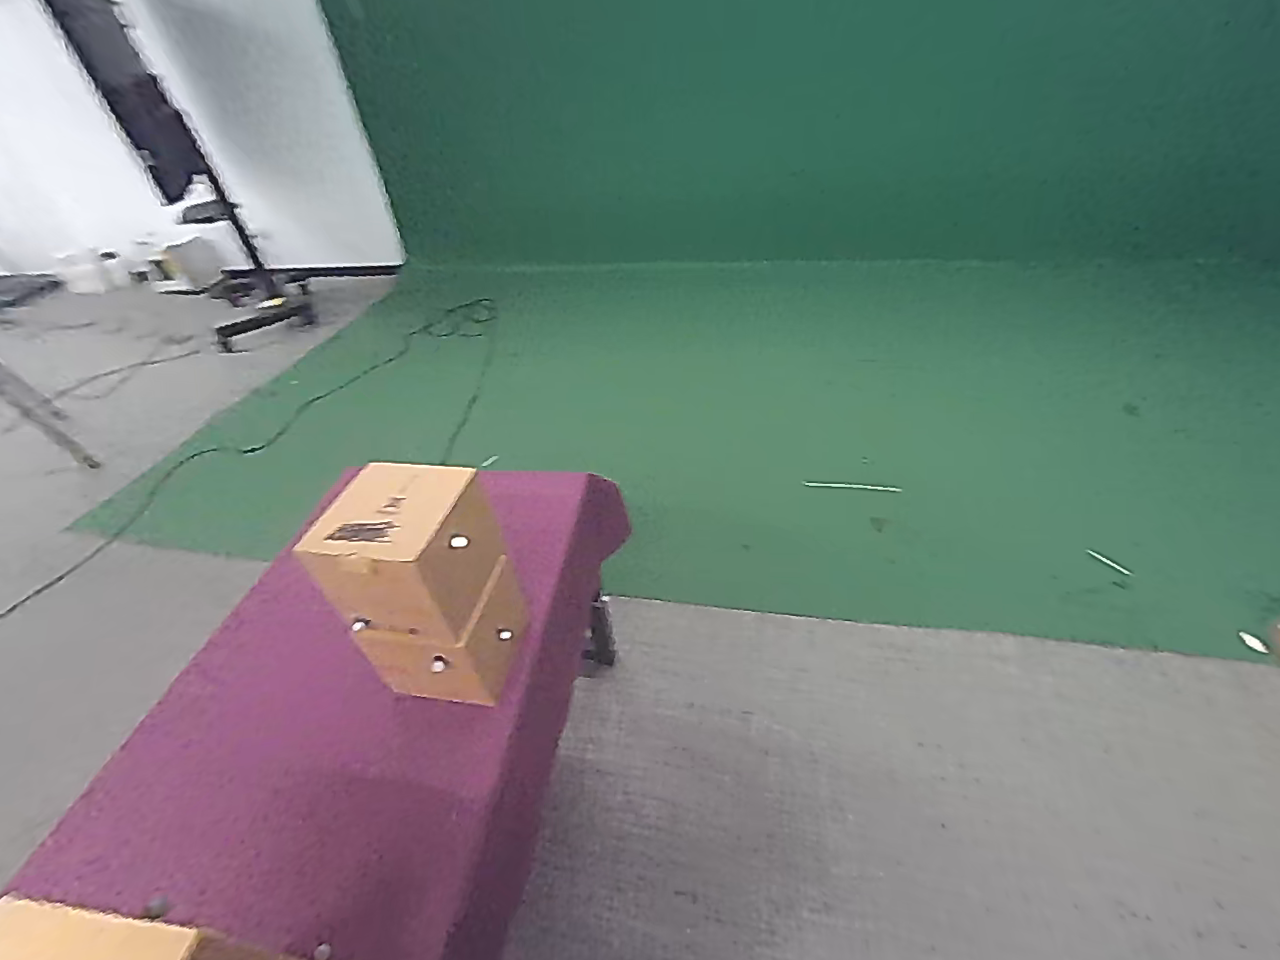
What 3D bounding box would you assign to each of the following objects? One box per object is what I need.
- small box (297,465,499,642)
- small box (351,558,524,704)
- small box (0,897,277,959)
[{"bbox_3d":[-0.314,0.101,0.749,0.168,0.176,0.179,4,41,11],"label":"small box"},{"bbox_3d":[-0.300,0.231,0.850,0.179,0.176,0.168,3,41,11],"label":"small box"},{"bbox_3d":[-0.390,0.426,0.380,0.179,0.176,0.168,2,41,8],"label":"small box"}]
